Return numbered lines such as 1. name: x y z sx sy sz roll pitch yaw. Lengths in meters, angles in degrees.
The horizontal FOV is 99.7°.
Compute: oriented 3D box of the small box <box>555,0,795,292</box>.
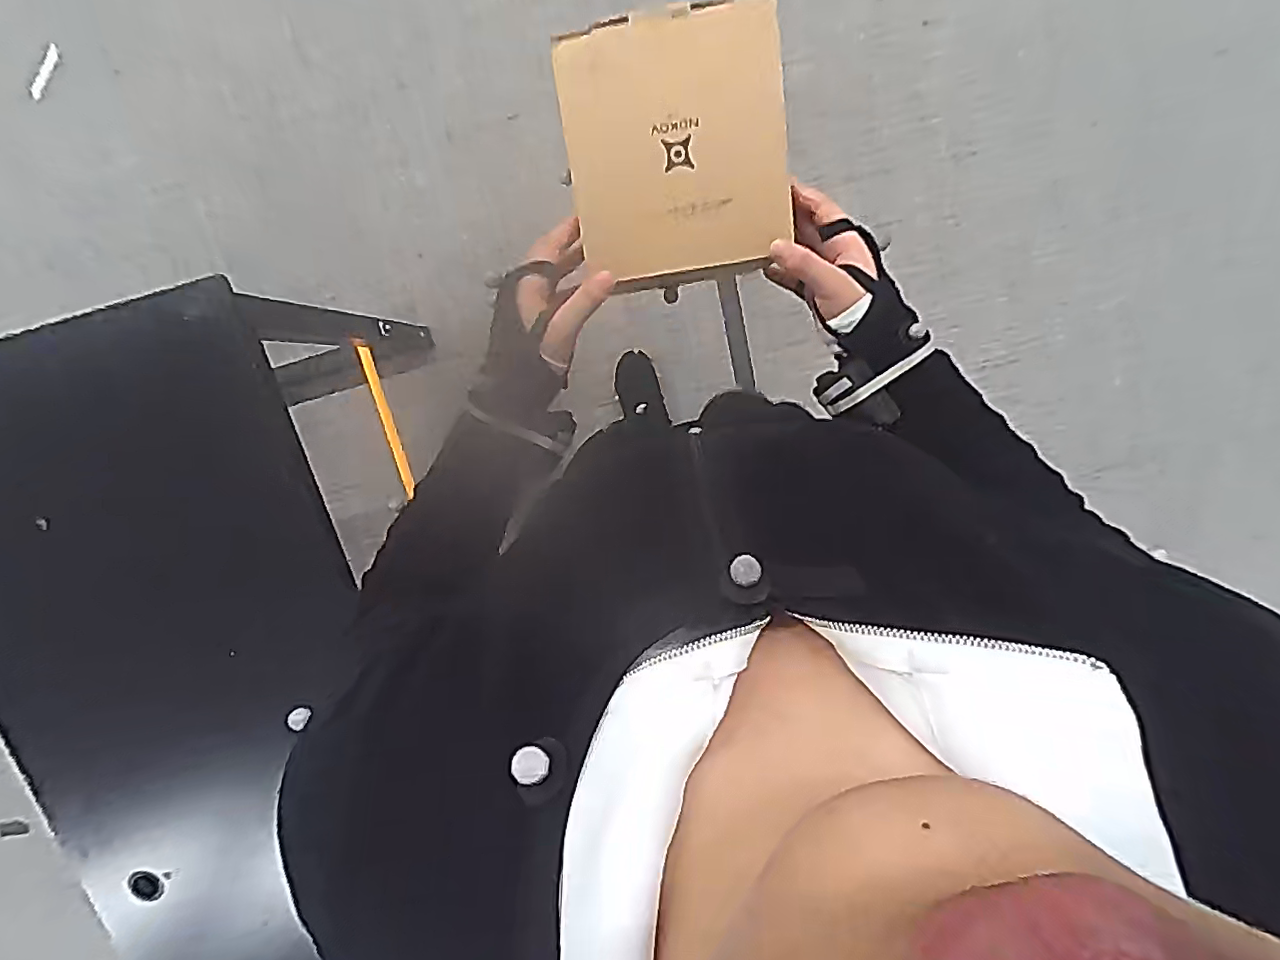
1. small box: 0.030 -0.273 0.480 0.168 0.176 0.179 -8 106 3
